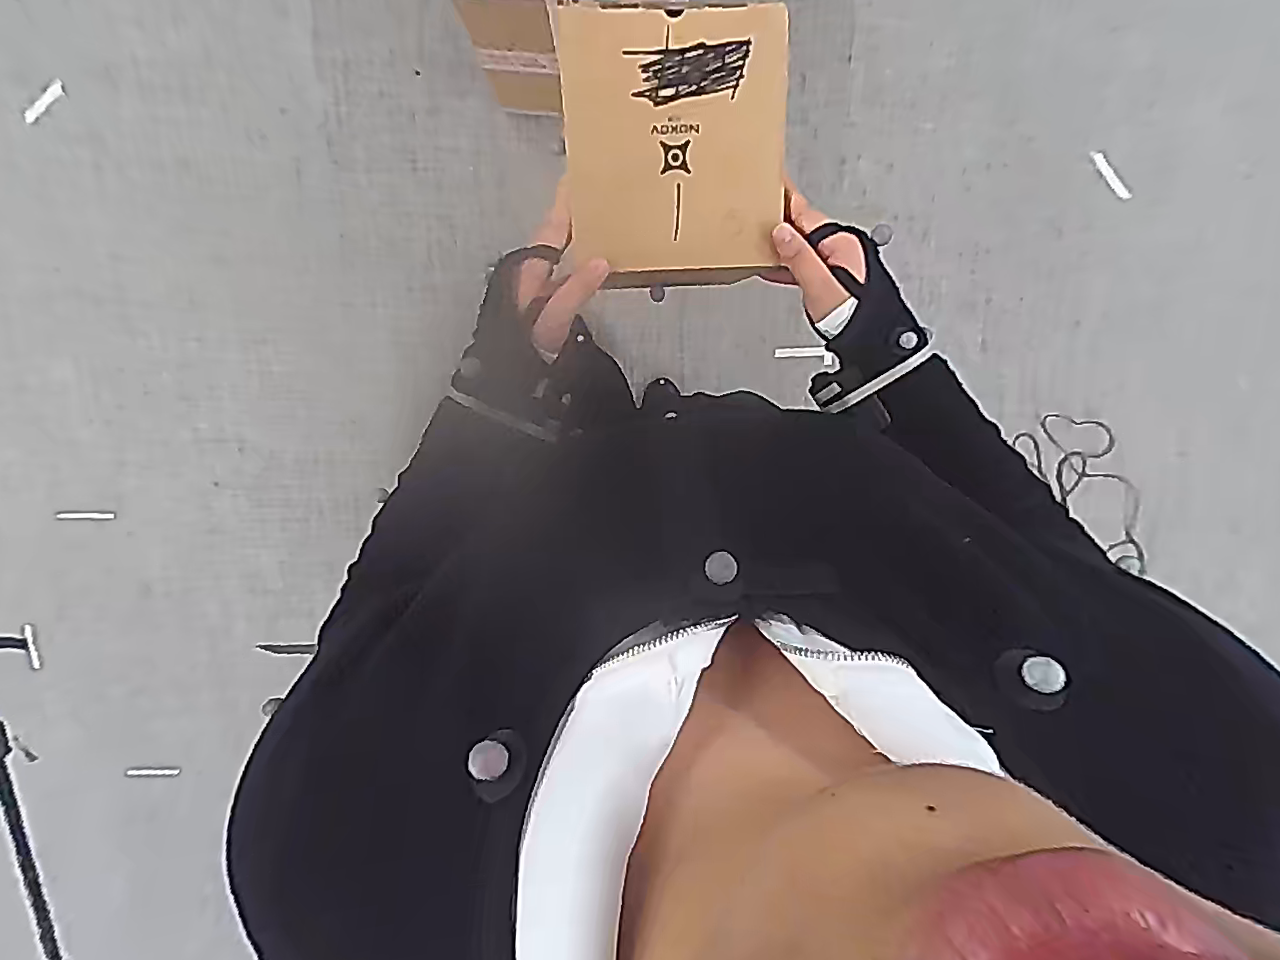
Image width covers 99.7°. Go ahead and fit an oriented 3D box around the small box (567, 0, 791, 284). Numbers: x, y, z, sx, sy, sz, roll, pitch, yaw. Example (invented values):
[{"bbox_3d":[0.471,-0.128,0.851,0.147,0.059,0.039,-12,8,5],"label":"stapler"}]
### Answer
[{"bbox_3d":[0.024,-0.275,0.479,0.168,0.176,0.179,-3,106,-3],"label":"small box"}]
